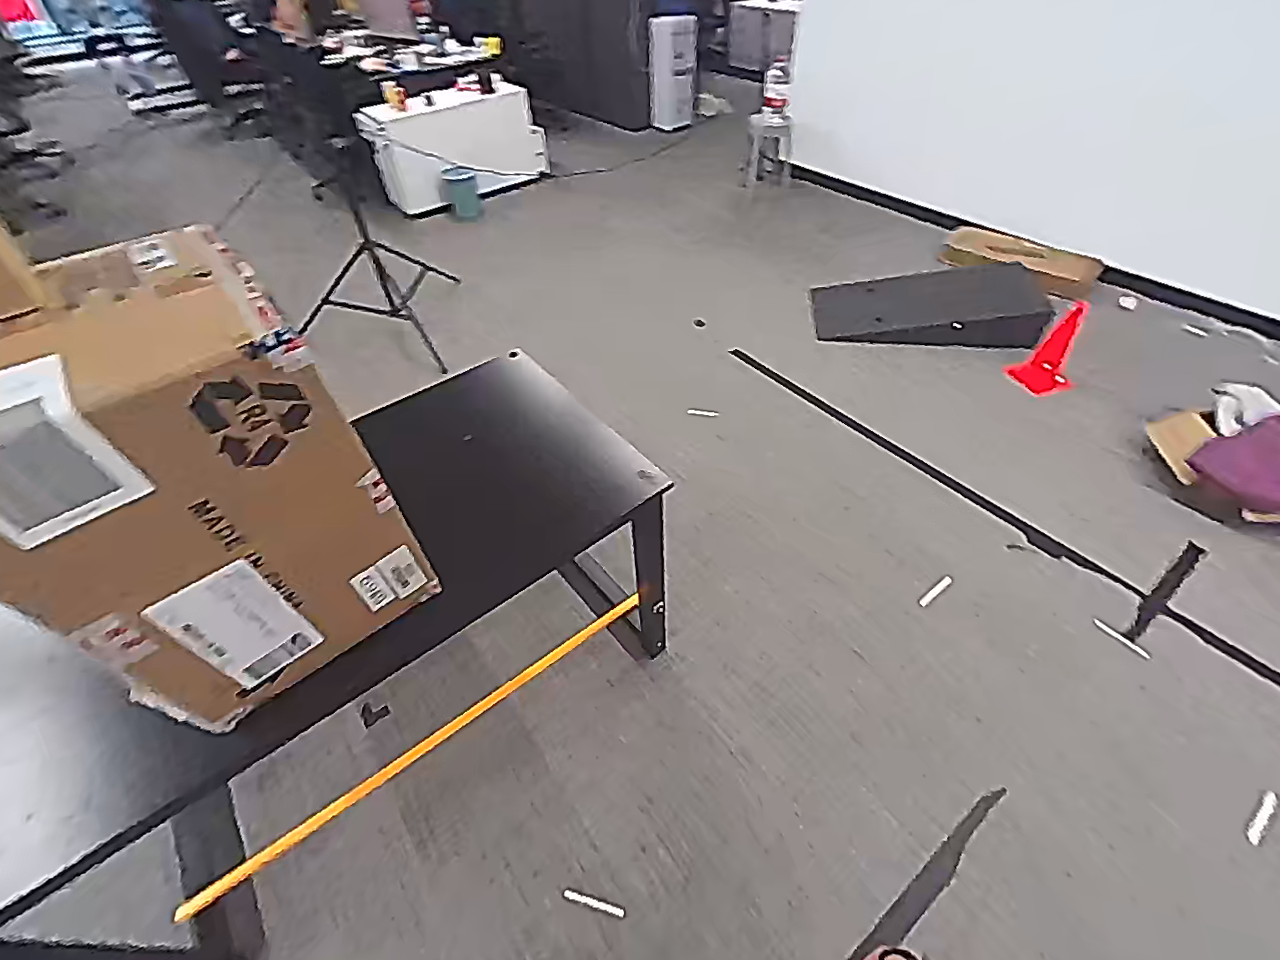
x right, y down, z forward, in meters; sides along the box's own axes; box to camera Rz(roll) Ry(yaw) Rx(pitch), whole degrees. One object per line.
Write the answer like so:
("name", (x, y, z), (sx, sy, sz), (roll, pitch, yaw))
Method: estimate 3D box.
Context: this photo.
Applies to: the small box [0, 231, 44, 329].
("small box", (-0.742, -0.233, 0.518), (0.168, 0.176, 0.179), (-35, 53, -29))
